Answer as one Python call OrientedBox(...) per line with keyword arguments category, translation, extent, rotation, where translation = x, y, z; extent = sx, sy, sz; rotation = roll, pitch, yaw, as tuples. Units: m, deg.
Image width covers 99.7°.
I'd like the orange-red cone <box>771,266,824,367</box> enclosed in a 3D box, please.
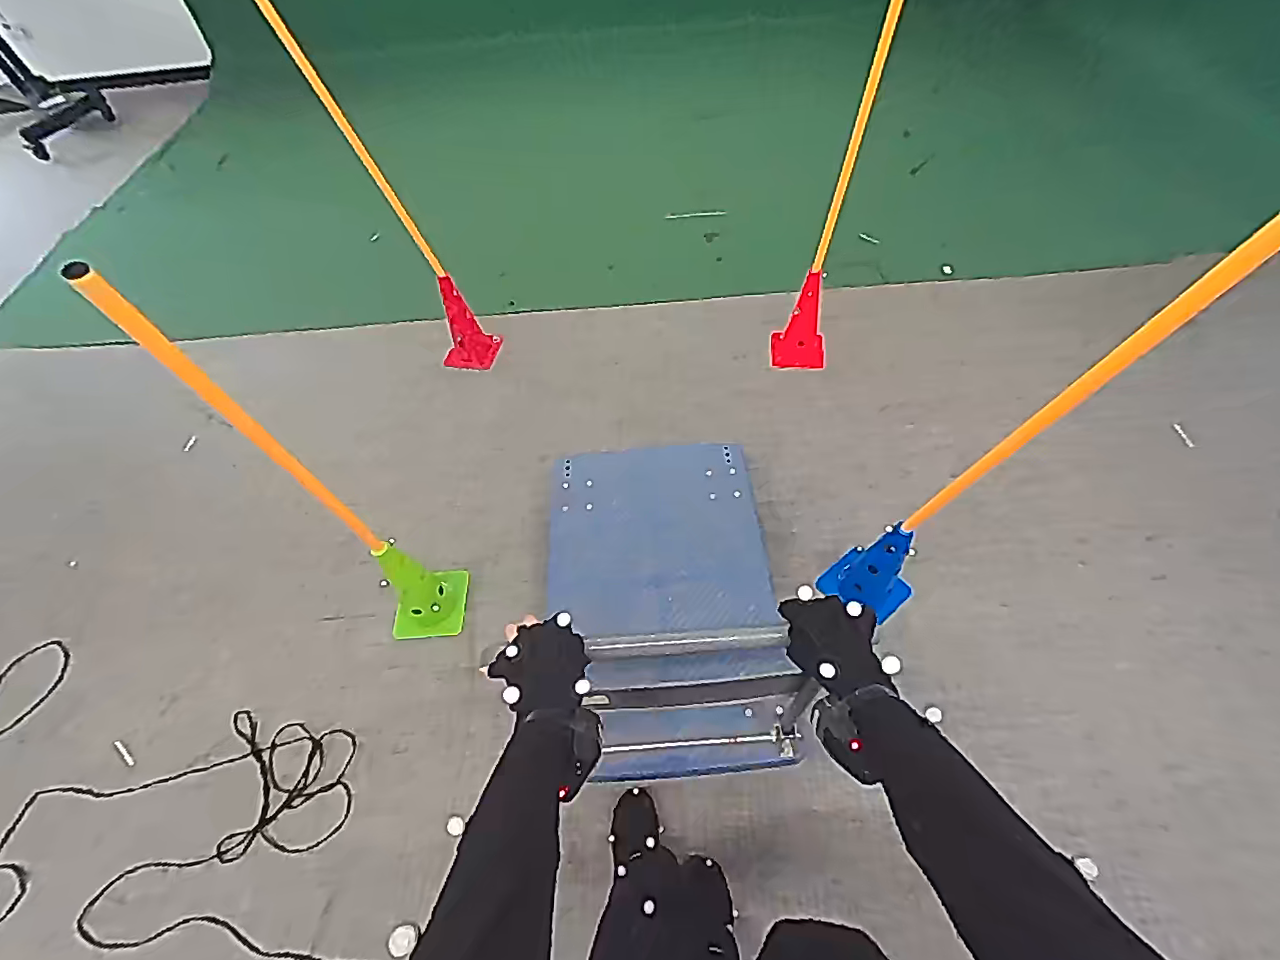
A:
OrientedBox(category="orange-red cone", translation=(0.597, -0.605, 1.953), extent=(0.198, 0.360, 0.199), rotation=(5, 57, 8))
